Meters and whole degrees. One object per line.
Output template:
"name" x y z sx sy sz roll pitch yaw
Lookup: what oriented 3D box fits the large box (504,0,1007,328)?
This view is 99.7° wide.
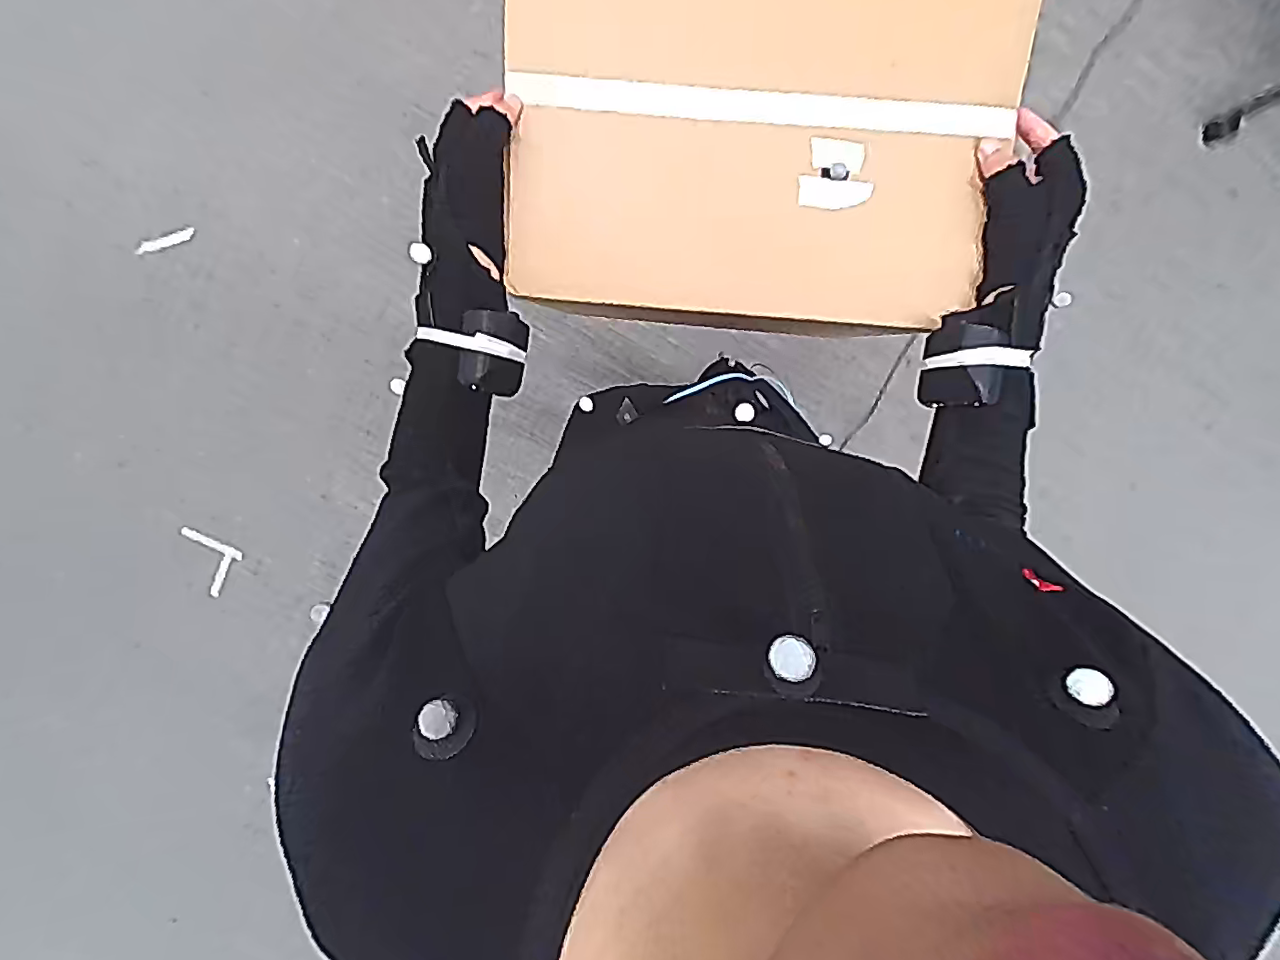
"large box" 0.087 -0.339 0.591 0.408 0.320 0.320 4 105 0
